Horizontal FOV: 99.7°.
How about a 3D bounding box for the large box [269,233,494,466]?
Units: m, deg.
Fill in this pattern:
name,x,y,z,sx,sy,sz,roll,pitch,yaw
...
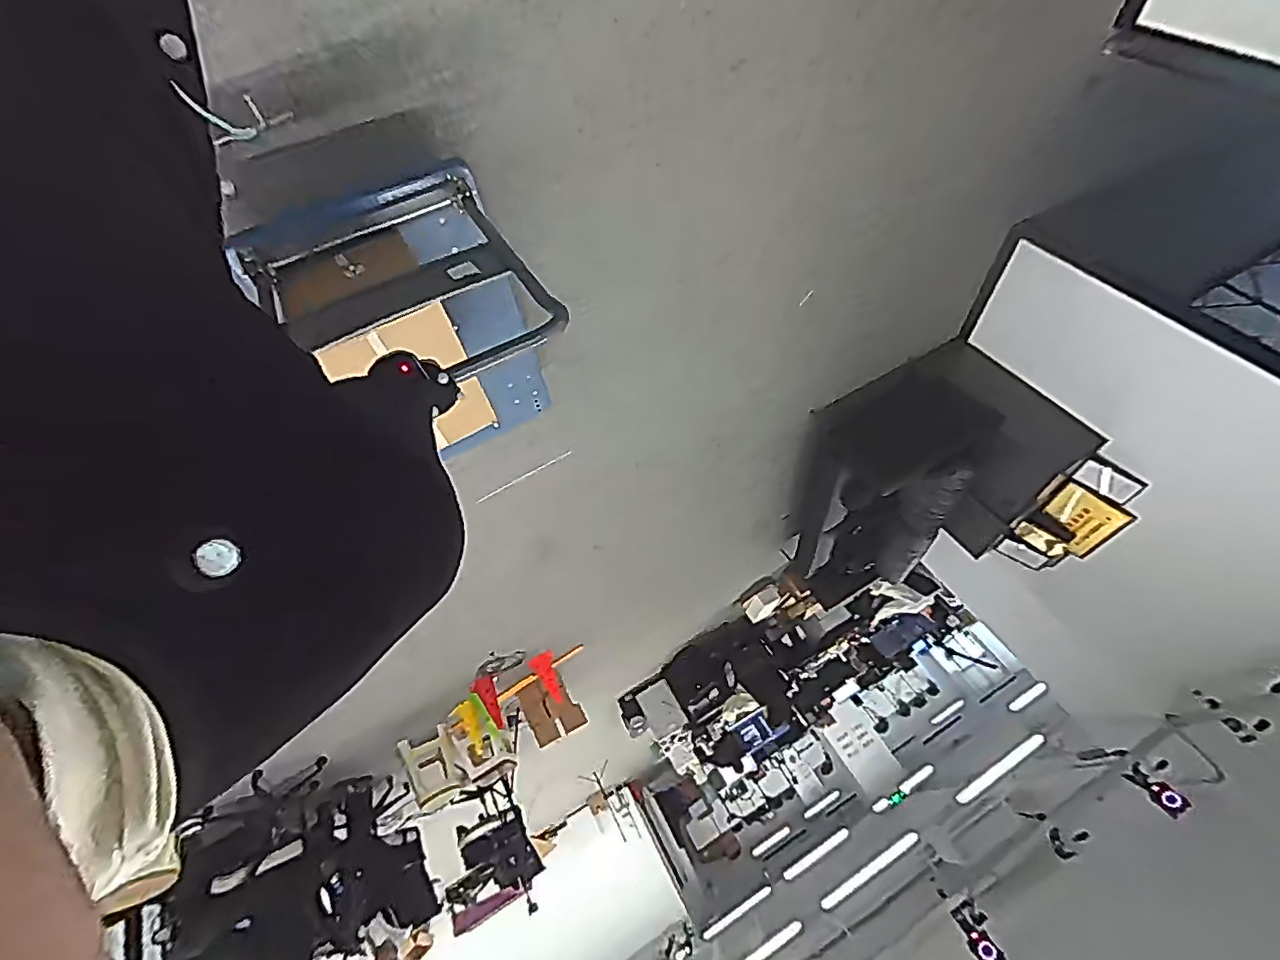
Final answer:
name,x,y,z,sx,sy,sz,roll,pitch,yaw
large box,-0.624,-0.317,1.350,0.320,0.320,0.408,-28,149,-12
